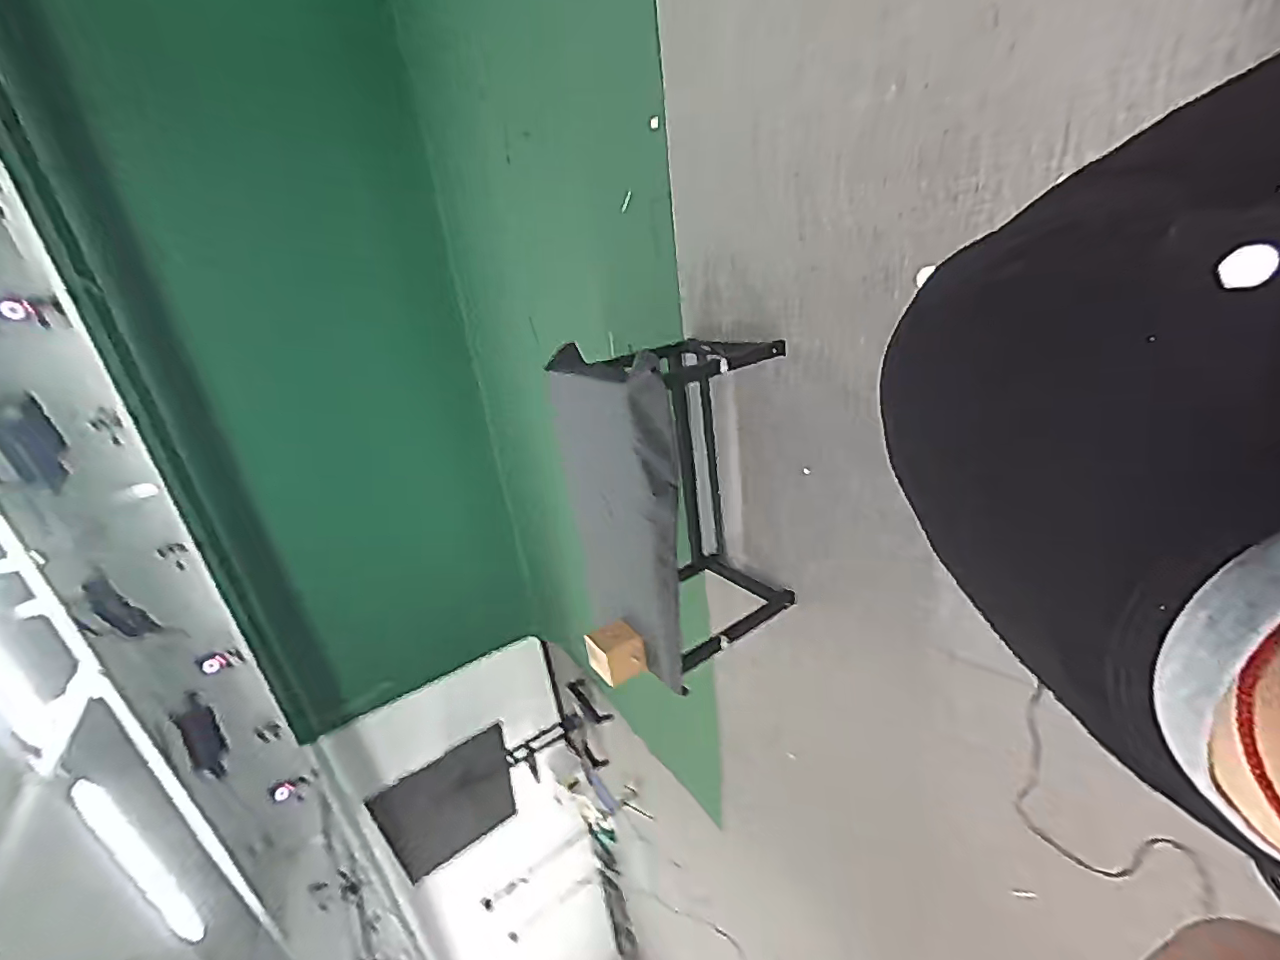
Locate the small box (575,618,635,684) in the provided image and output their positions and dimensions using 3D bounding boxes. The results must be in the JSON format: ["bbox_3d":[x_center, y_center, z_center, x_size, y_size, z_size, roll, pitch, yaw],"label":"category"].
[{"bbox_3d":[-0.142,0.688,2.208,0.179,0.176,0.168,22,127,52],"label":"small box"}]
